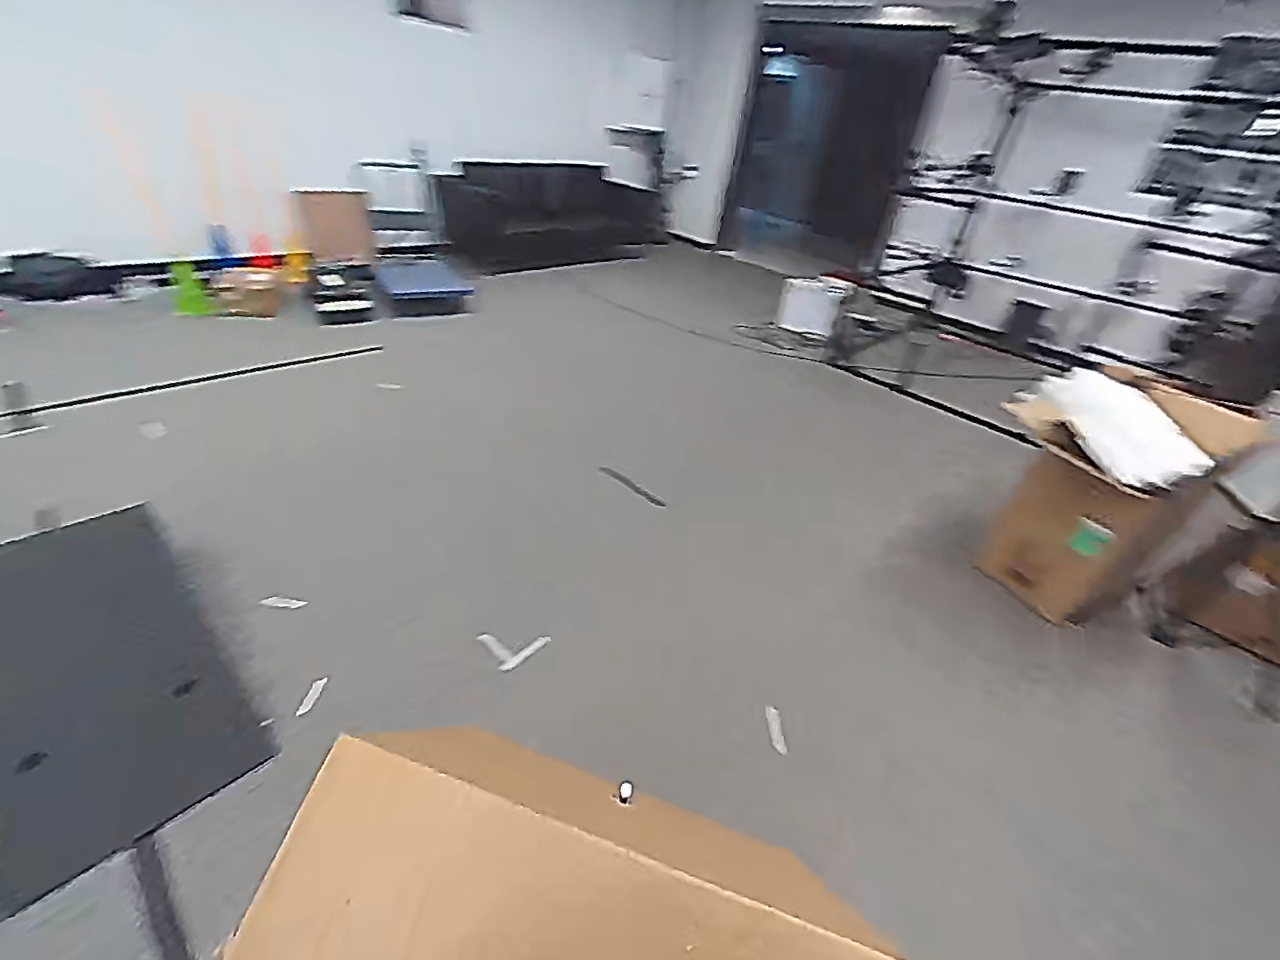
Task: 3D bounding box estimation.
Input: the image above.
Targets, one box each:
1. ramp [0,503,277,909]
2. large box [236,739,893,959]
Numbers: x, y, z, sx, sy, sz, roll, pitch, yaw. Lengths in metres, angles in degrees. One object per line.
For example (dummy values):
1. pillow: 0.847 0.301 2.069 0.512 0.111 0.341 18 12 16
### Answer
1. ramp: -1.414 0.462 1.411 0.991 0.206 0.509 33 39 29
2. large box: -0.075 0.435 0.442 0.408 0.320 0.320 17 69 6
